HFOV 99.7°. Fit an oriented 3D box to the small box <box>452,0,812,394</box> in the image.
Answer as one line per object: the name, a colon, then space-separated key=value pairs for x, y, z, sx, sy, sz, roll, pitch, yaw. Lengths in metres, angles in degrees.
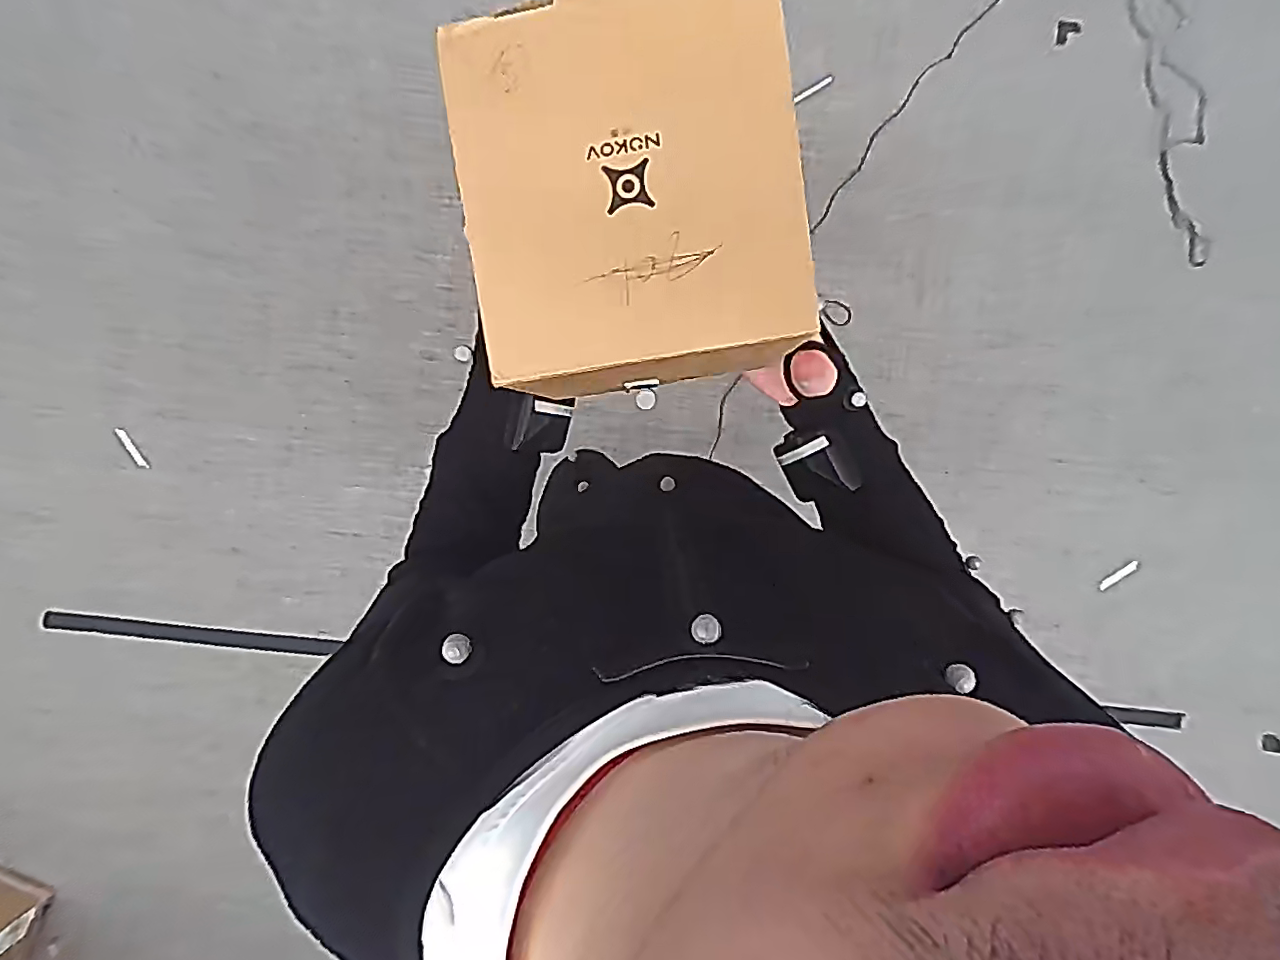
small box: x=0.001 y=-0.158 z=0.351 sx=0.168 sy=0.176 sz=0.179 roll=-8 pitch=95 yaw=5
